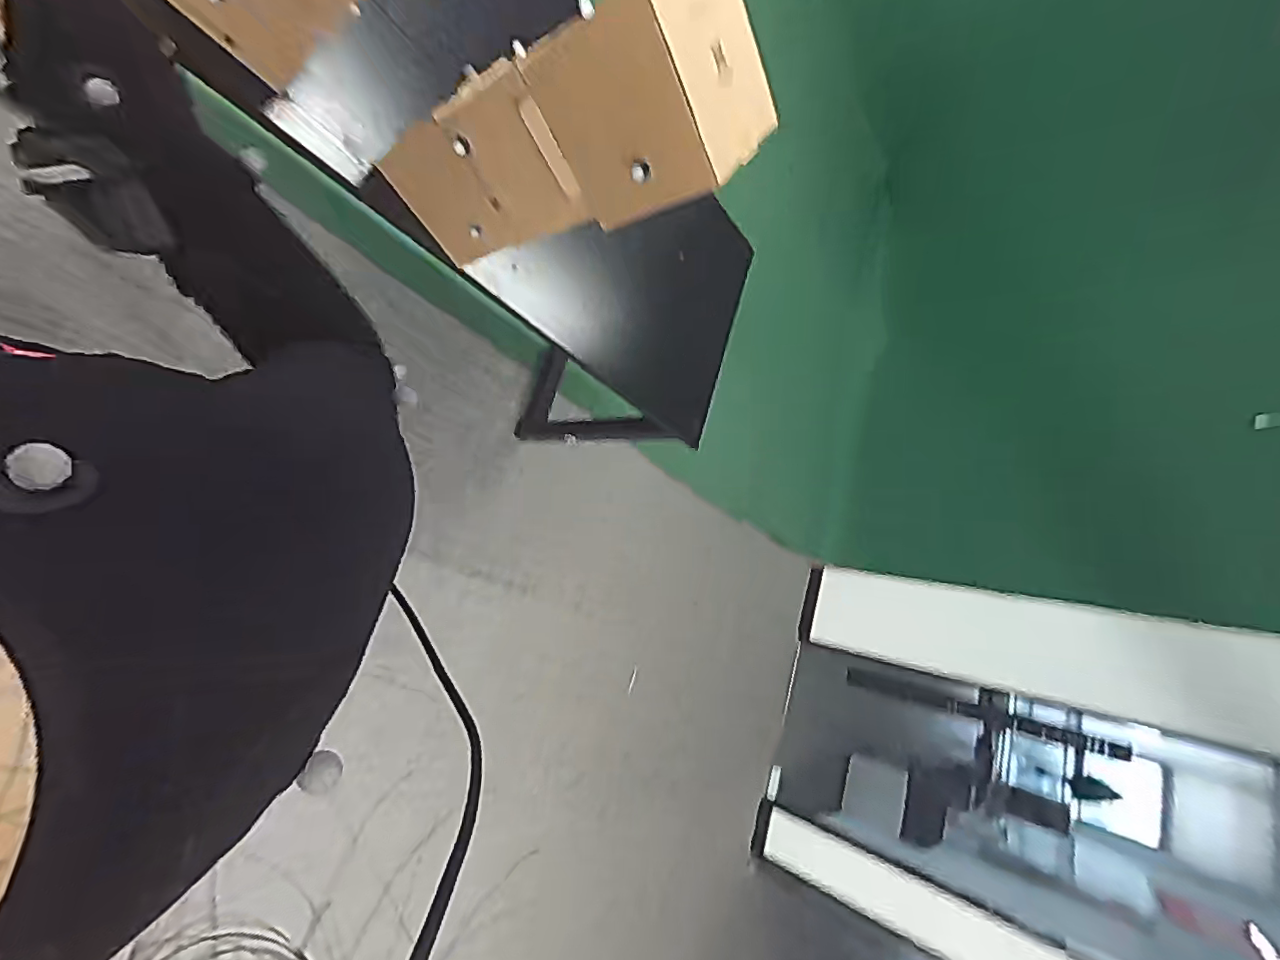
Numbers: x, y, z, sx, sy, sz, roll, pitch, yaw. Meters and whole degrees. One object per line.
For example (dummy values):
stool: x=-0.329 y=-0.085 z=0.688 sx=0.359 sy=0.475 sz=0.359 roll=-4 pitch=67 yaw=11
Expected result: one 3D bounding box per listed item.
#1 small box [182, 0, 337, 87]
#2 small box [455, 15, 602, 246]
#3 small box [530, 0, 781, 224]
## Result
small box: x=-0.403 y=-0.582 z=0.584 sx=0.168 sy=0.176 sz=0.179 roll=34 pitch=68 yaw=-44
small box: x=-0.103 y=-0.425 z=0.681 sx=0.179 sy=0.176 sz=0.168 roll=-57 pitch=131 yaw=-28
small box: x=0.021 y=-0.399 z=0.577 sx=0.168 sy=0.176 sz=0.179 roll=-56 pitch=130 yaw=-30
